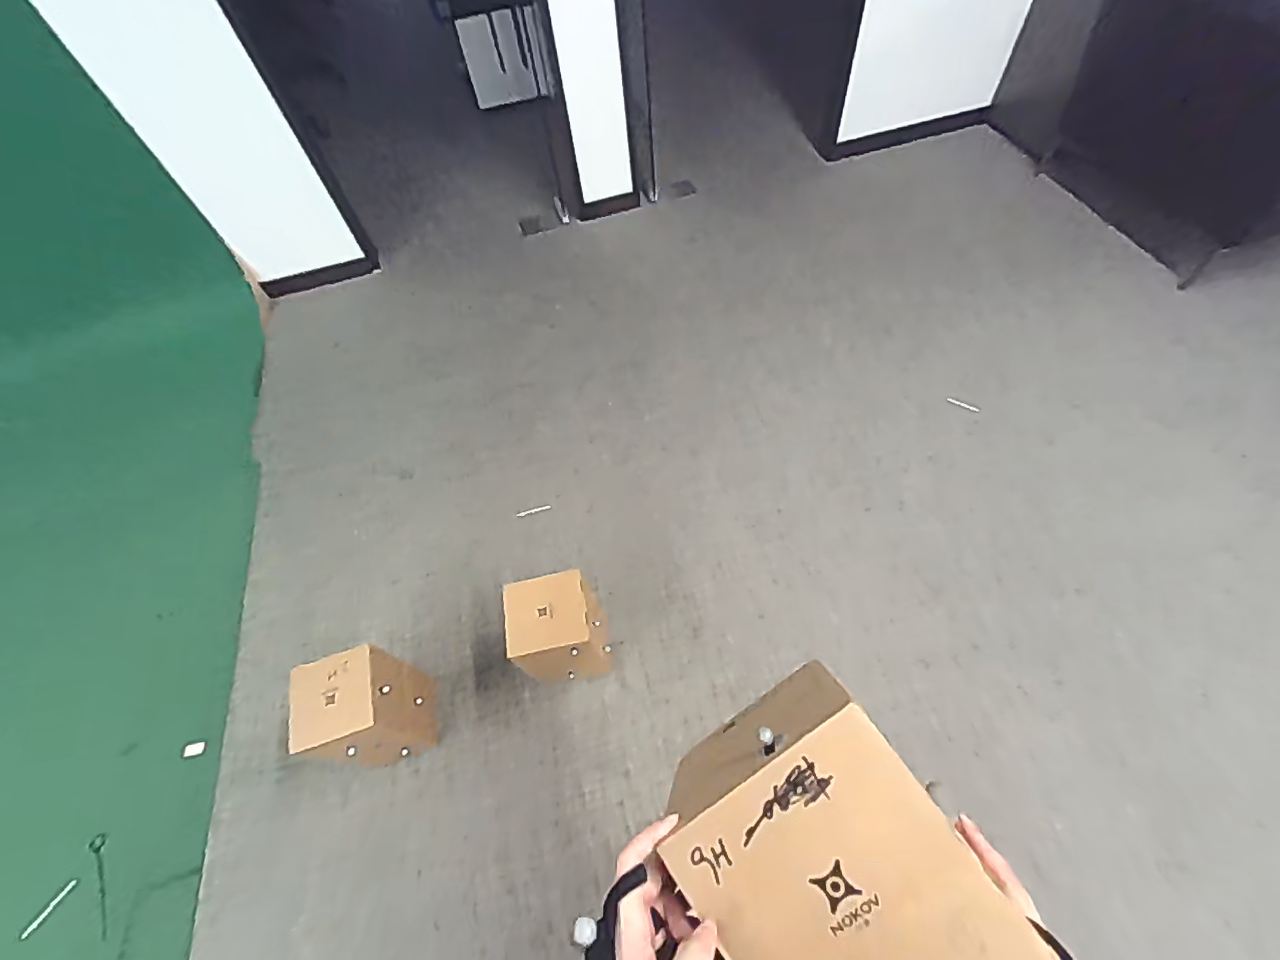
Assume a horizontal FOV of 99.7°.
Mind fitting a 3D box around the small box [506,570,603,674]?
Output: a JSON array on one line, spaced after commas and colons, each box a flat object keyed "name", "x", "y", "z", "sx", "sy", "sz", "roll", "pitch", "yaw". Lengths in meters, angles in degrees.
[{"name": "small box", "x": -0.192, "y": 0.328, "z": 1.229, "sx": 0.179, "sy": 0.176, "sz": 0.168, "roll": -12, "pitch": 57, "yaw": -2}]

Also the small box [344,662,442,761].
[{"name": "small box", "x": -0.597, "y": 0.570, "z": 1.317, "sx": 0.168, "sy": 0.176, "sz": 0.179, "roll": -16, "pitch": 57, "yaw": -5}]

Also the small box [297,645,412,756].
[{"name": "small box", "x": -0.613, "y": 0.486, "z": 1.177, "sx": 0.168, "sy": 0.176, "sz": 0.179, "roll": -17, "pitch": 58, "yaw": -6}]
